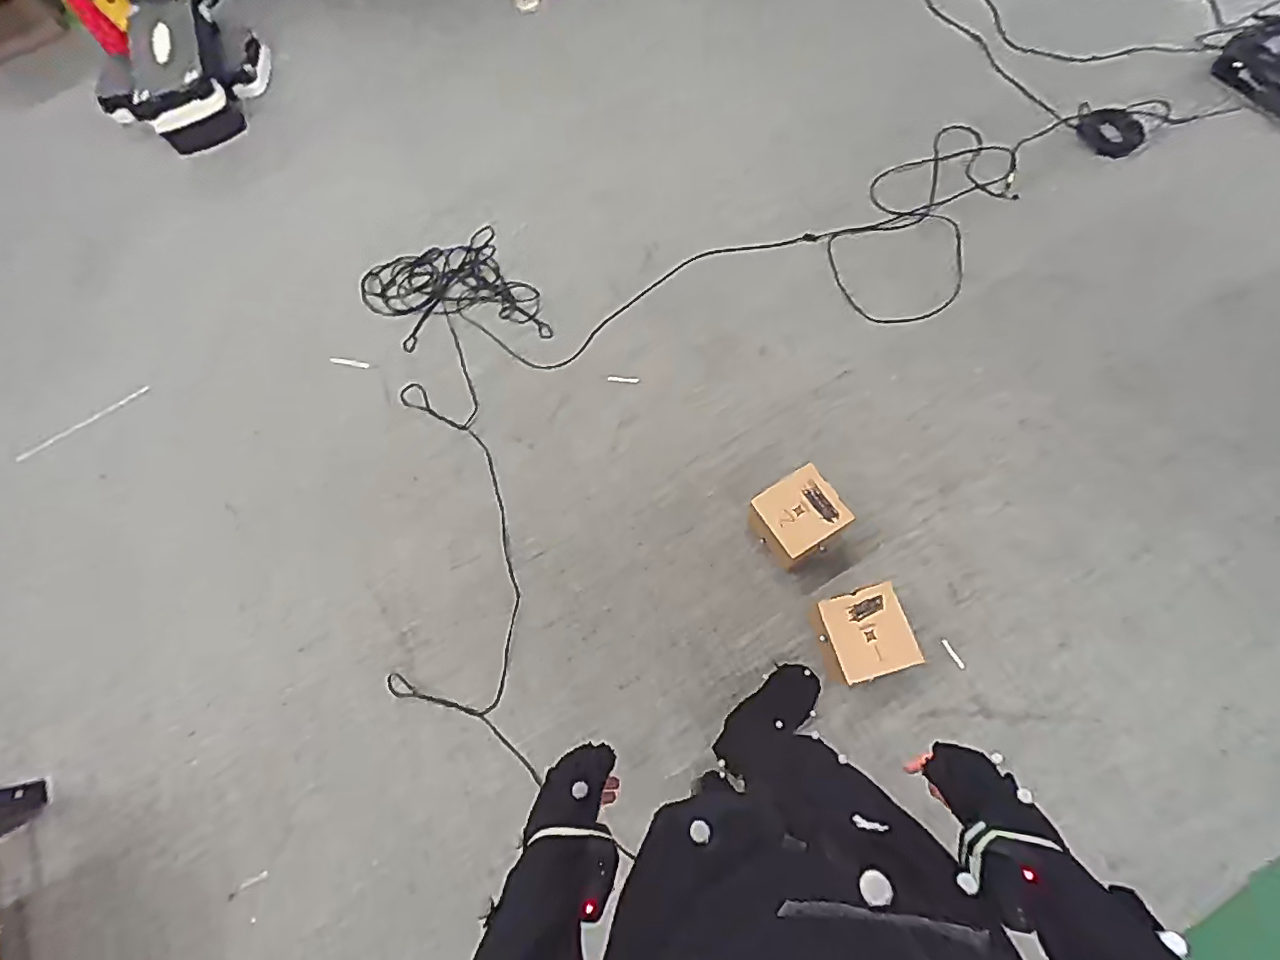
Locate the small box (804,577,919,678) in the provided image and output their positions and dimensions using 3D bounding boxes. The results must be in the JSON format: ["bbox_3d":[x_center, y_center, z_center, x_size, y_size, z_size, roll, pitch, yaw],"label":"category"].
[{"bbox_3d":[0.485,0.335,1.217,0.168,0.176,0.179,-17,71,1],"label":"small box"}]
